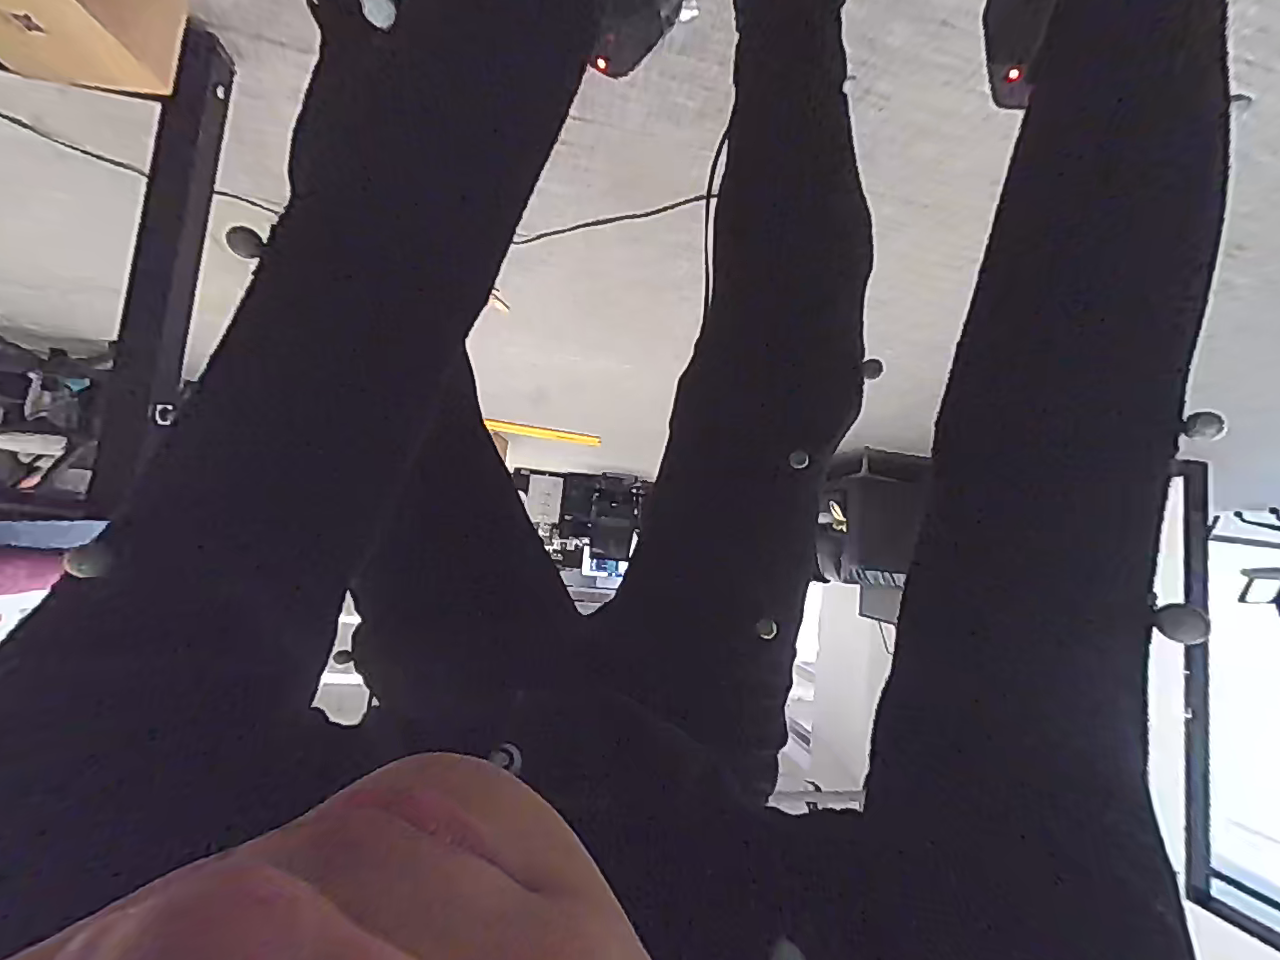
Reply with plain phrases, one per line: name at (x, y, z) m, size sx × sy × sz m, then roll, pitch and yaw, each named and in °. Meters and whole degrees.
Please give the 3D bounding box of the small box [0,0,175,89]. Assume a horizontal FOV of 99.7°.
small box at (-0.611, -0.540, 0.537) m, size 0.179 × 0.176 × 0.168 m, roll 6°, pitch 174°, yaw -3°
